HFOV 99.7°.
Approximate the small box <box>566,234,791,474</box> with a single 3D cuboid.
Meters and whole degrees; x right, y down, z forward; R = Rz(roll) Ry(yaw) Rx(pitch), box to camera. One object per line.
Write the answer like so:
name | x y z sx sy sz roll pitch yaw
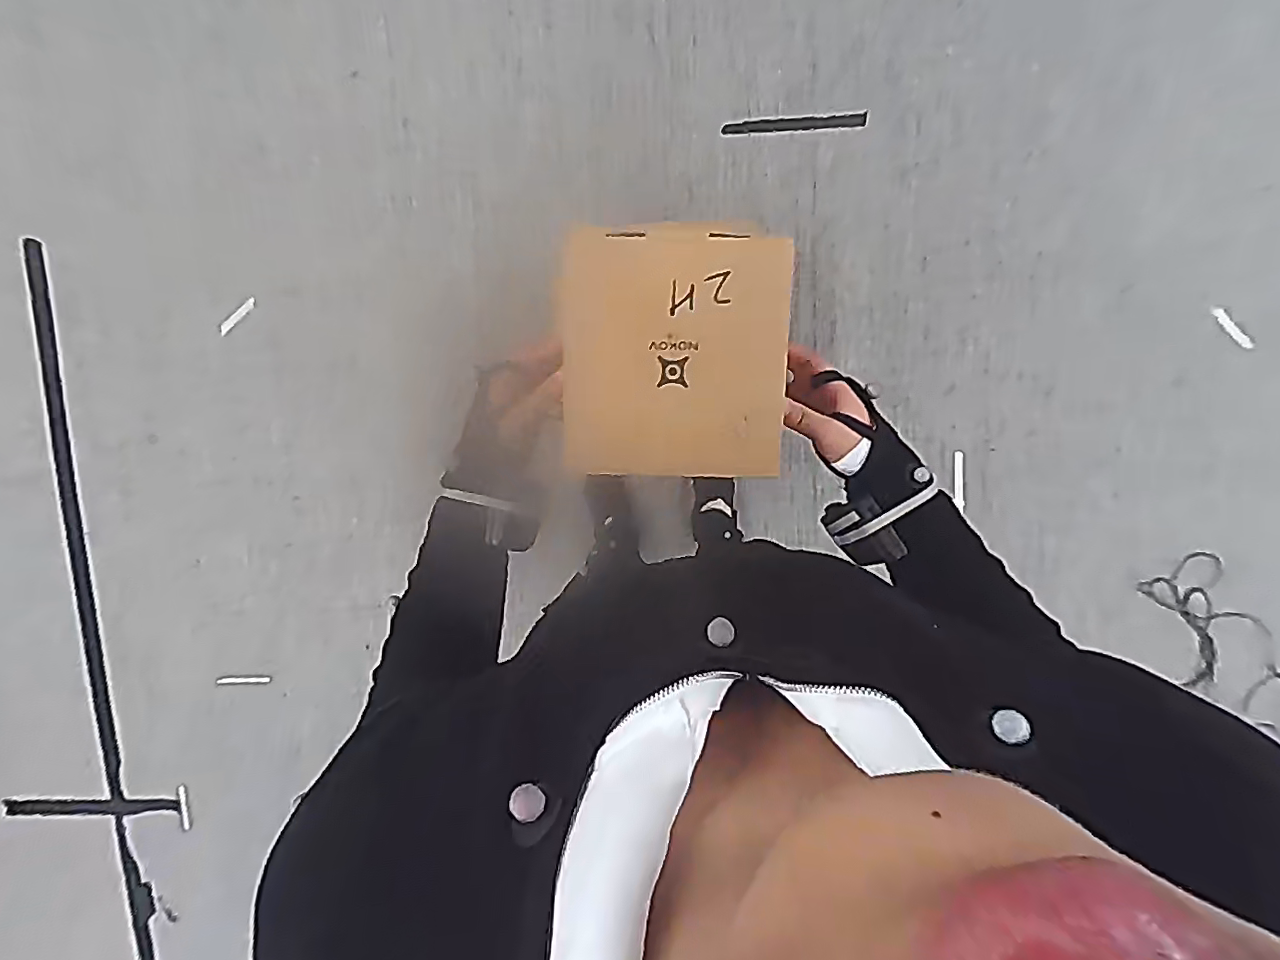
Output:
small box | 0.029 -0.109 0.487 0.168 0.176 0.179 1 102 2
